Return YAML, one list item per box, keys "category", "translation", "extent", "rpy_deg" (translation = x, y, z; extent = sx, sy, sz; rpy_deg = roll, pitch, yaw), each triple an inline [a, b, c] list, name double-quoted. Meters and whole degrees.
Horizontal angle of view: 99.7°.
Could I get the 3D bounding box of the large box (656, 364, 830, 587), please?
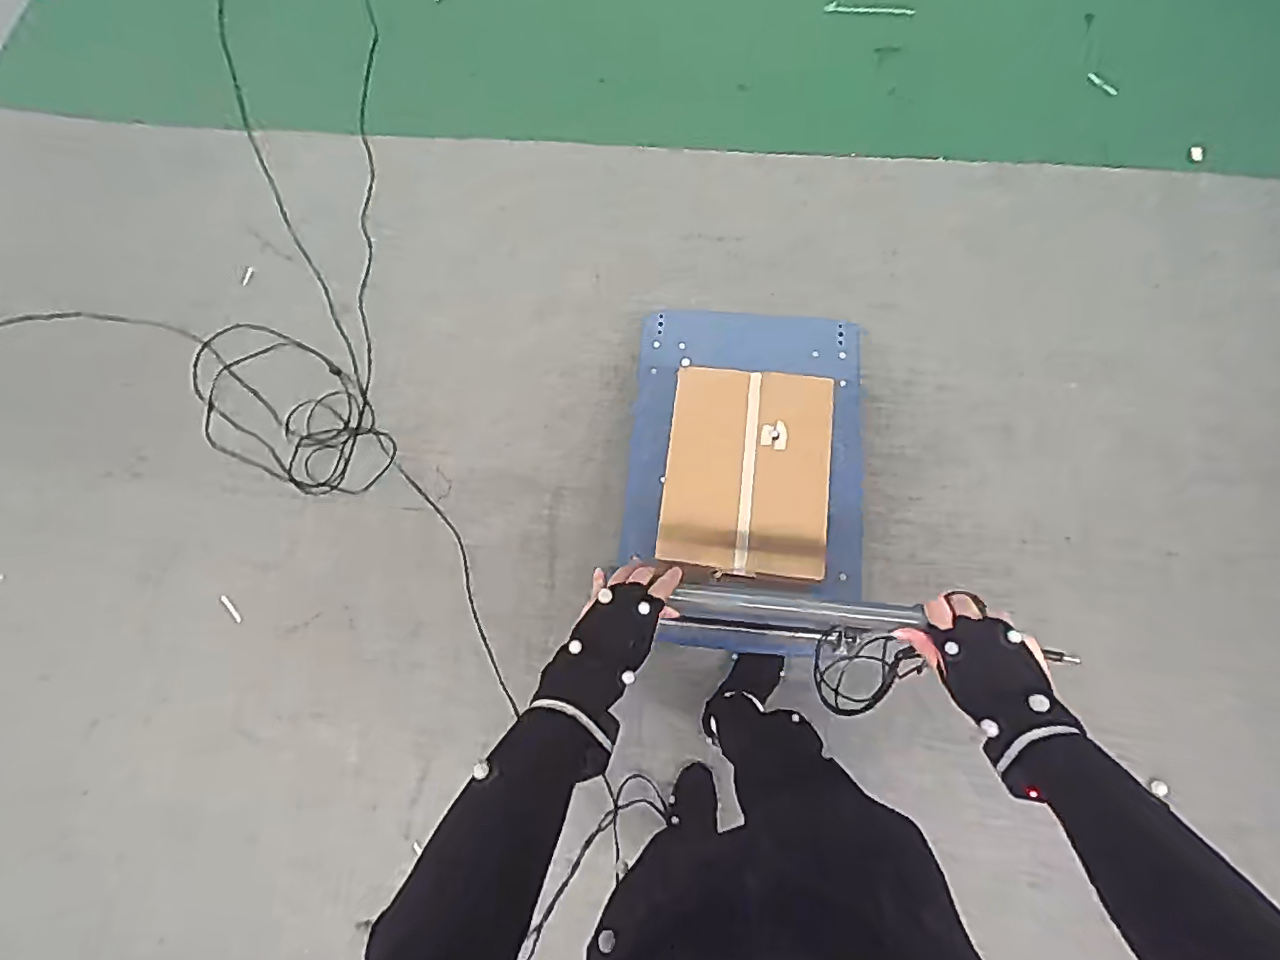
- category: "large box"
  translation: [0.215, 0.007, 1.181]
  extent: [0.320, 0.320, 0.408]
  rpy_deg: [7, 75, 5]
